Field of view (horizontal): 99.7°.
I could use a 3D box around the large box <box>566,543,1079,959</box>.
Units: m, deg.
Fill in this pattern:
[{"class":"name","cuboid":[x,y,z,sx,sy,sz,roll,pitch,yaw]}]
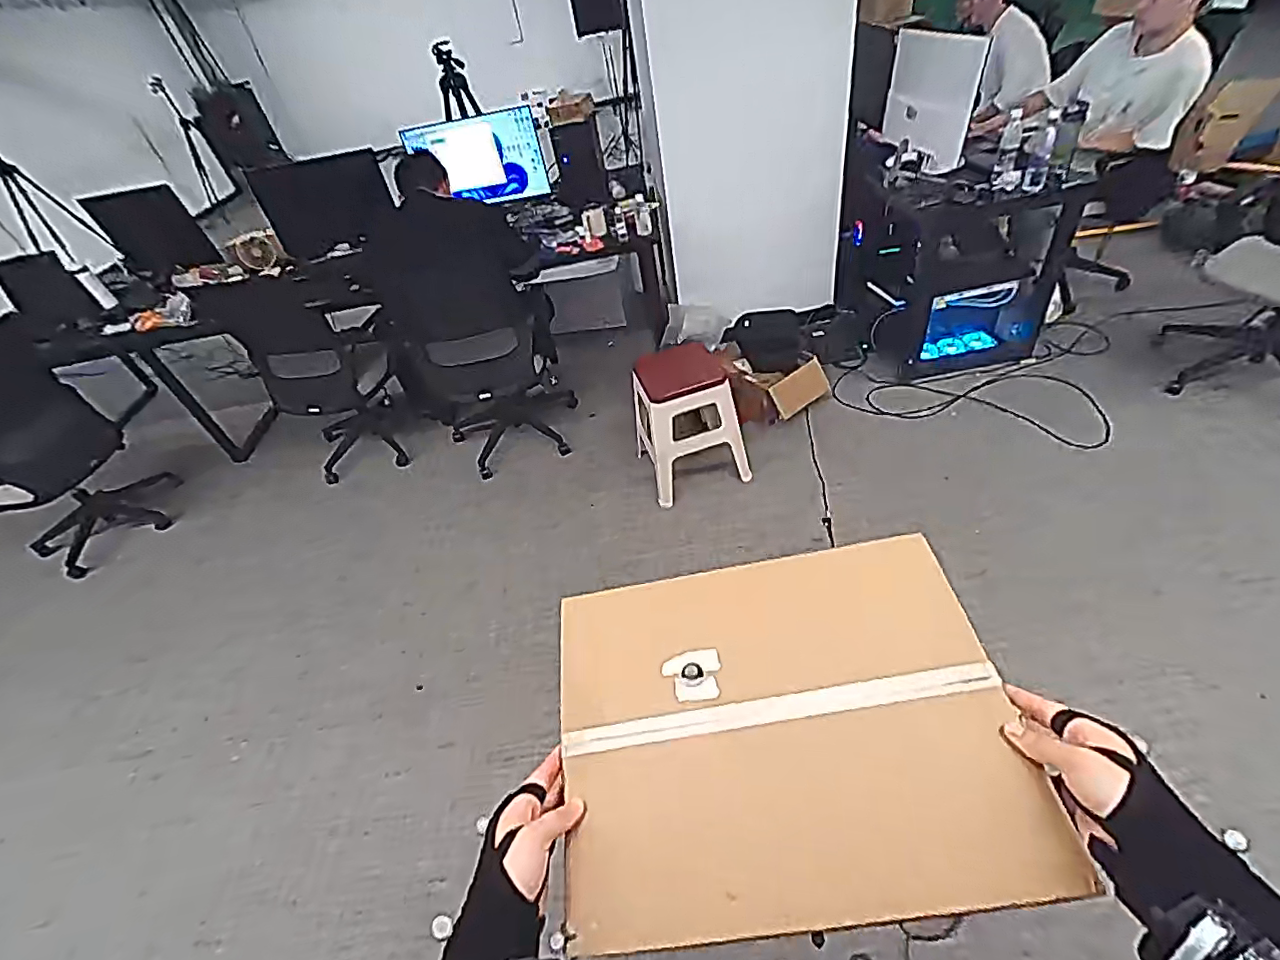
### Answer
[{"class":"large box","cuboid":[0.156,0.318,0.630,0.408,0.320,0.320,-12,49,5]}]
